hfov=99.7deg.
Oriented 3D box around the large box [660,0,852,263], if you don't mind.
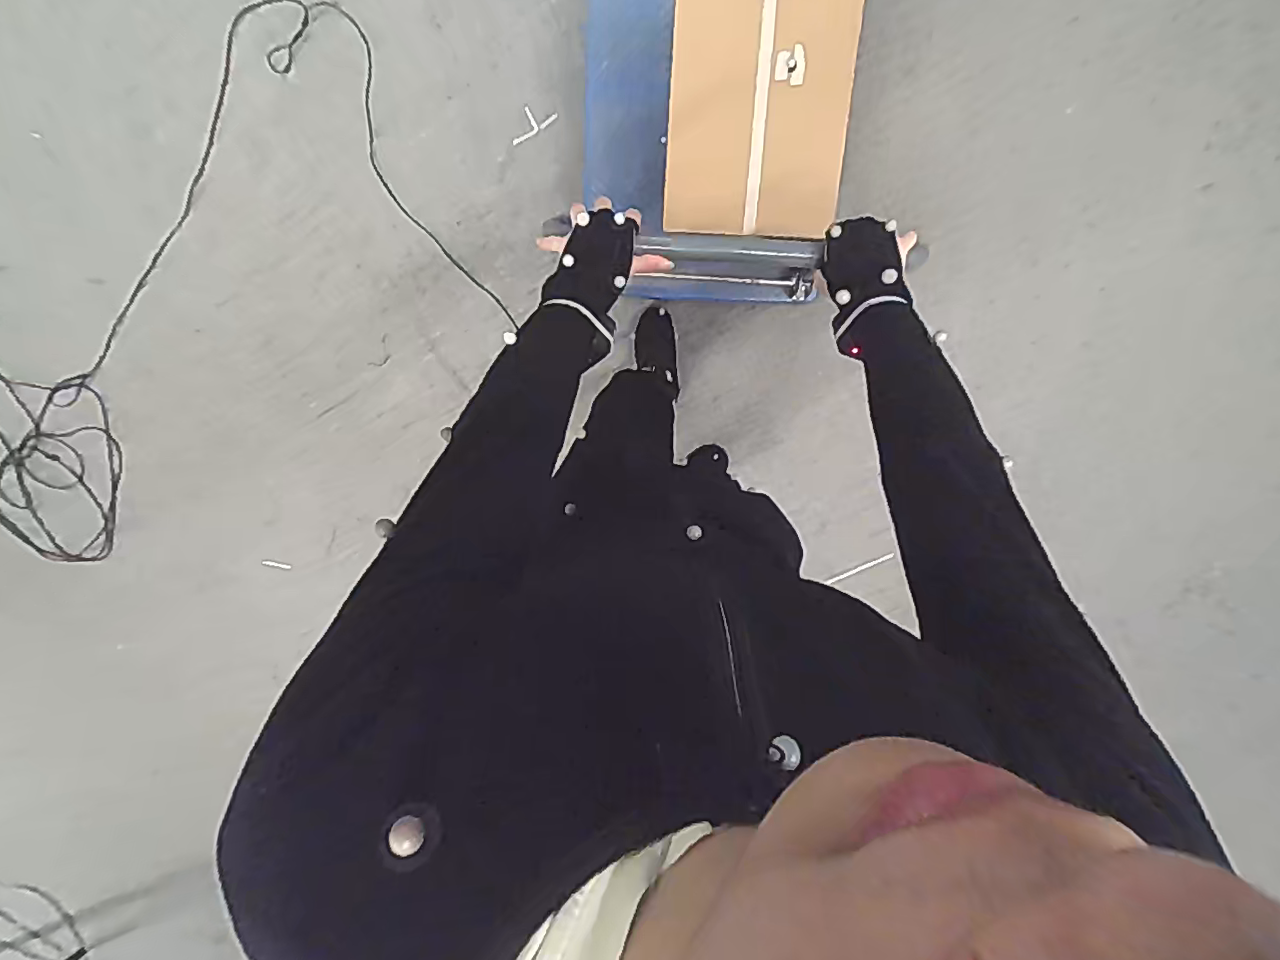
[{"bbox_3d":[0.209,-0.682,1.114,0.320,0.320,0.408,4,105,2],"label":"large box"}]
